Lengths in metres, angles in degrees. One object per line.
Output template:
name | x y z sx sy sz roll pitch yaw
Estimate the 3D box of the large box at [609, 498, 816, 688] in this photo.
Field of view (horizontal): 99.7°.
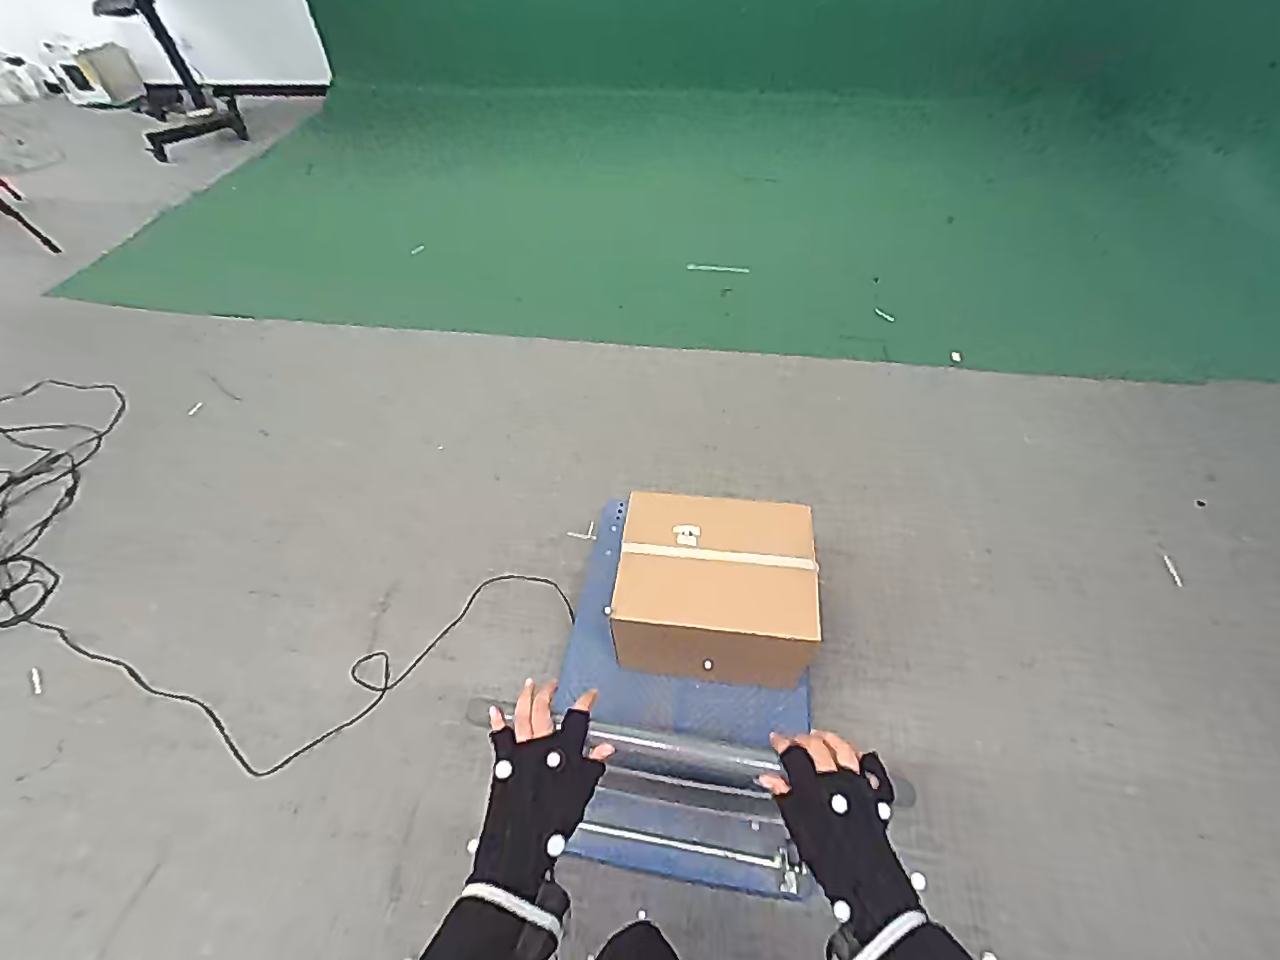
large box | 0.162 0.262 1.242 0.408 0.320 0.320 4 51 7
